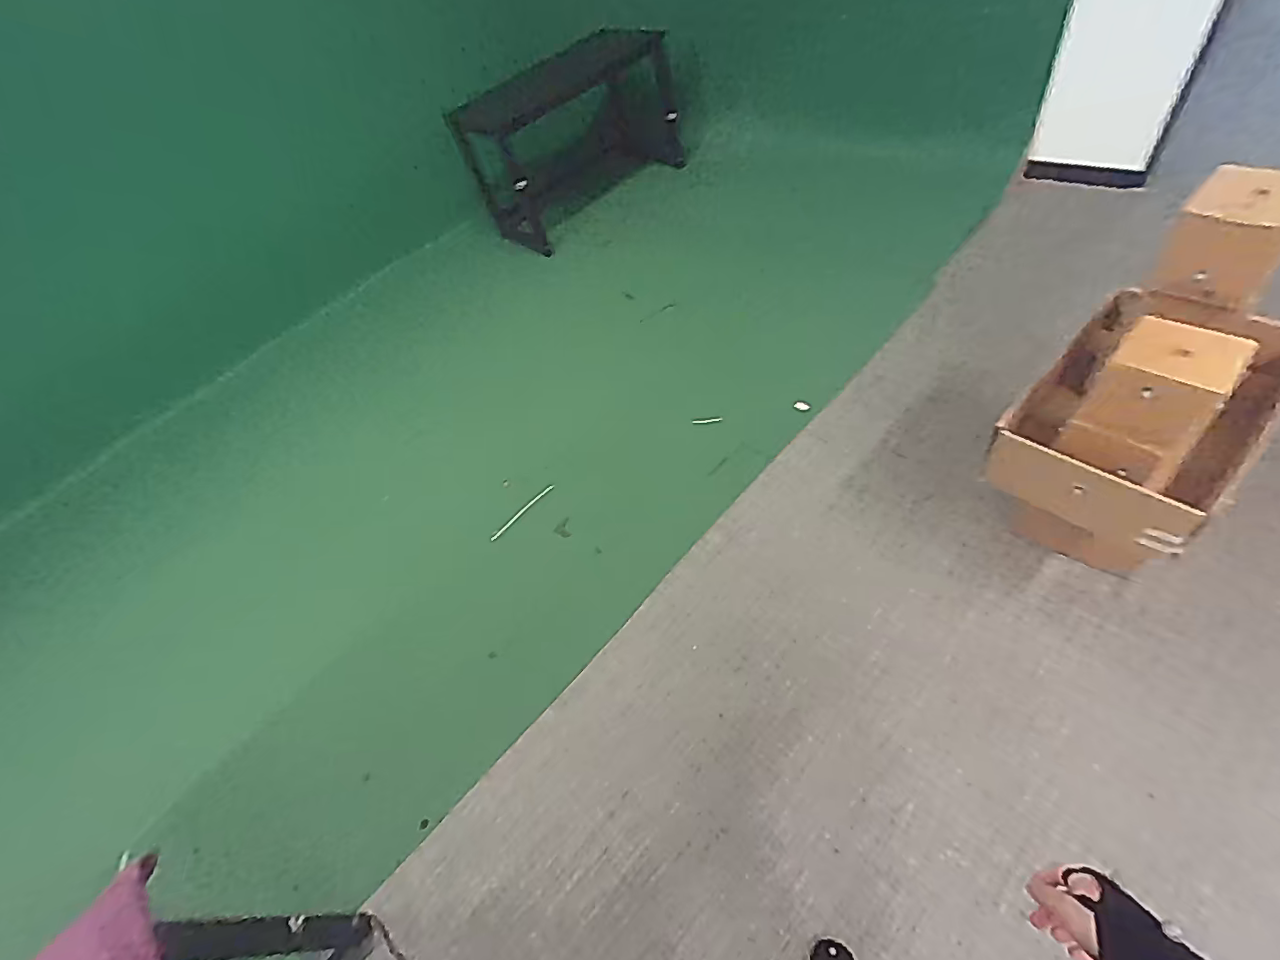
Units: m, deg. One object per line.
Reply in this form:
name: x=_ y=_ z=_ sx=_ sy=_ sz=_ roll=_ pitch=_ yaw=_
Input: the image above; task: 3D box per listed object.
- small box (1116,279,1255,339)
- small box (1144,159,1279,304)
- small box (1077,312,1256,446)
small box: x=1.169 y=-0.384 z=1.156 sx=0.168 sy=0.176 sz=0.179 roll=29 pitch=68 yaw=32
small box: x=1.118 y=-0.468 z=1.022 sx=0.179 sy=0.176 sz=0.168 roll=-42 pitch=52 yaw=-14
small box: x=1.014 y=-0.192 z=1.058 sx=0.168 sy=0.176 sz=0.179 roll=-43 pitch=53 yaw=-18
